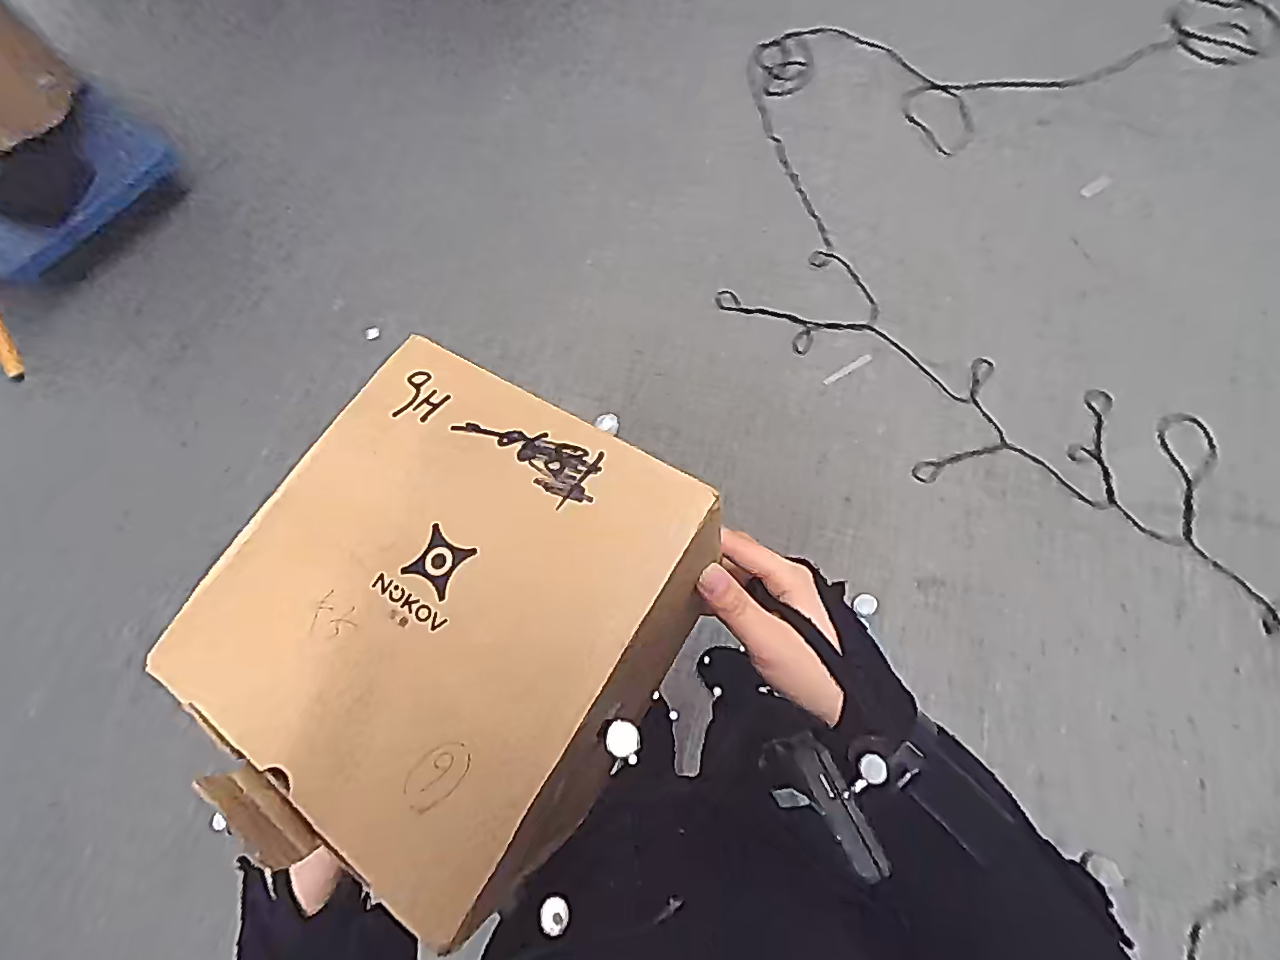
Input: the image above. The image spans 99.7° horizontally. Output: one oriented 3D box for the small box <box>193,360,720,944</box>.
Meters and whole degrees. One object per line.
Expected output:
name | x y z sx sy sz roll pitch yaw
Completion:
small box | -0.065 0.075 0.295 0.168 0.176 0.179 29 77 17
